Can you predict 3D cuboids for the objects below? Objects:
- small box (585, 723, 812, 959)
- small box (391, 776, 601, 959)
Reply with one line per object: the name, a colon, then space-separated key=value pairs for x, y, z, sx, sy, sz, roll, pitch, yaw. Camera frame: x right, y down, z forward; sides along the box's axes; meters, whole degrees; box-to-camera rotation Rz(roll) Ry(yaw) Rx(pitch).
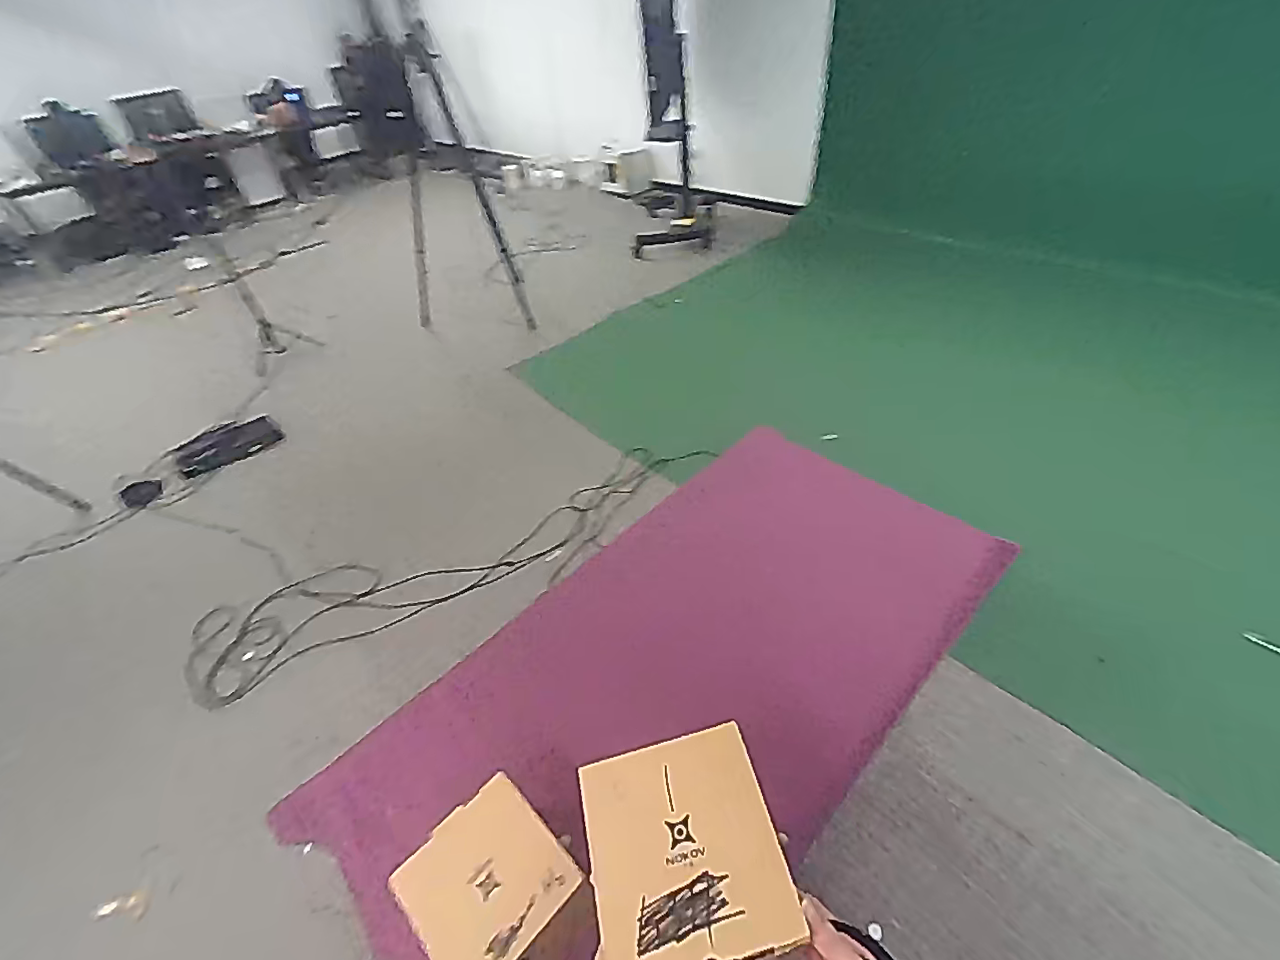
small box: x=0.054 y=0.374 z=0.530 sx=0.168 sy=0.176 sz=0.179 roll=-15 pitch=44 yaw=-2
small box: x=-0.172 y=0.527 z=0.682 sx=0.179 sy=0.176 sz=0.168 roll=30 pitch=55 yaw=35
